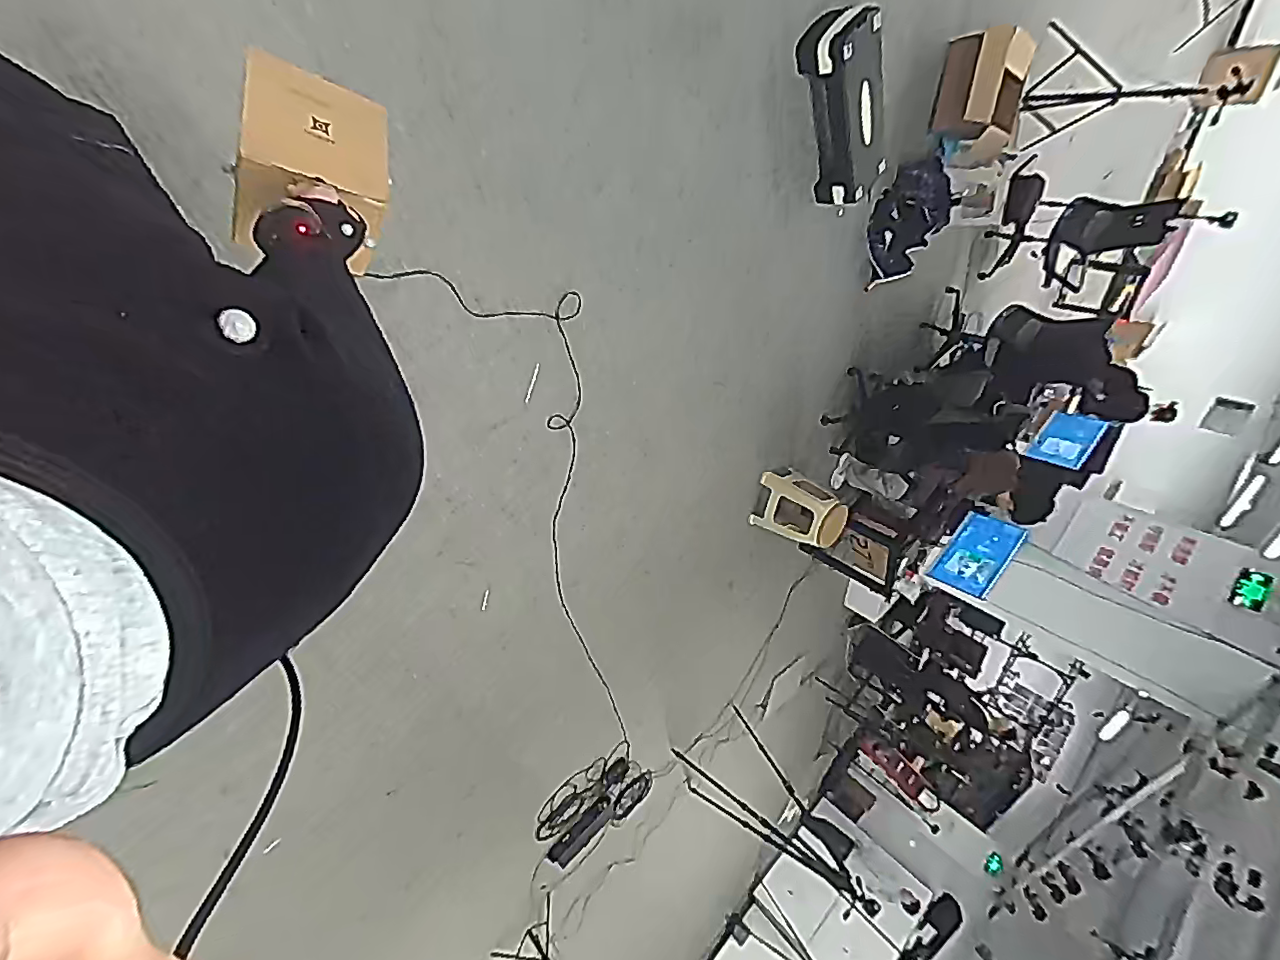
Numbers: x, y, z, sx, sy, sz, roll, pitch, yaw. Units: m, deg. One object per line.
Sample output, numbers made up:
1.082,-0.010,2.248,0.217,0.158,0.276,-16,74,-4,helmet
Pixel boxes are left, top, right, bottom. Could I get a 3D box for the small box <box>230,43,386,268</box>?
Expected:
-0.464,-0.433,0.756,0.168,0.176,0.179,4,69,-39,small box
